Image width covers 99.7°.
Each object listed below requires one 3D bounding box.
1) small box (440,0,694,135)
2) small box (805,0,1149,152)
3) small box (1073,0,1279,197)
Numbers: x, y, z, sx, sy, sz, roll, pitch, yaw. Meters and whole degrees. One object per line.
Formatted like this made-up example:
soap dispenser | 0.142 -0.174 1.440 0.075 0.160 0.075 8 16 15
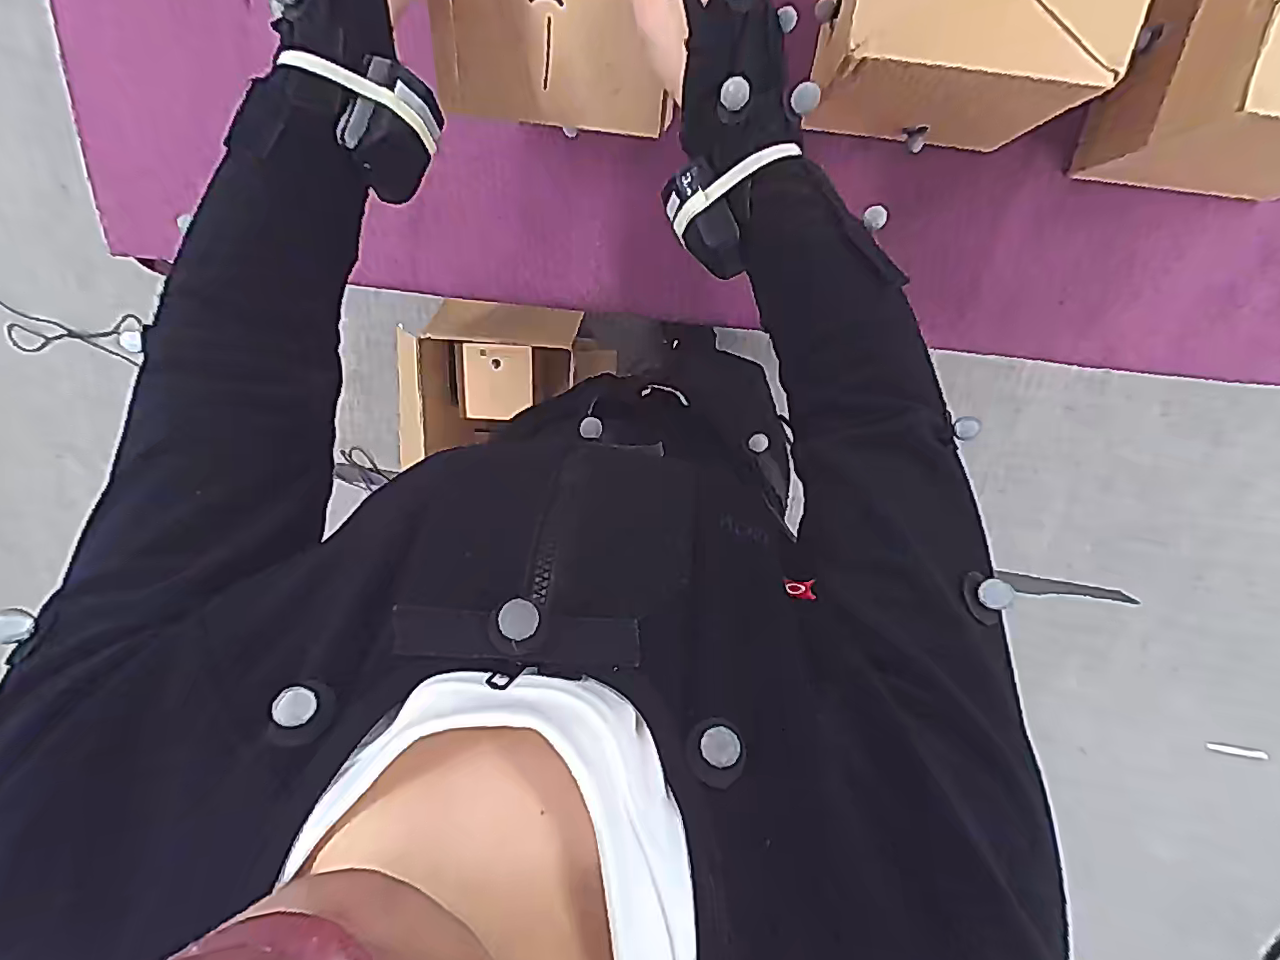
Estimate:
small box | -0.043 -0.380 0.410 0.168 0.176 0.179 8 127 1
small box | 0.242 -0.370 0.404 0.179 0.176 0.168 10 108 4
small box | 0.483 -0.320 0.394 0.179 0.176 0.168 9 106 3
